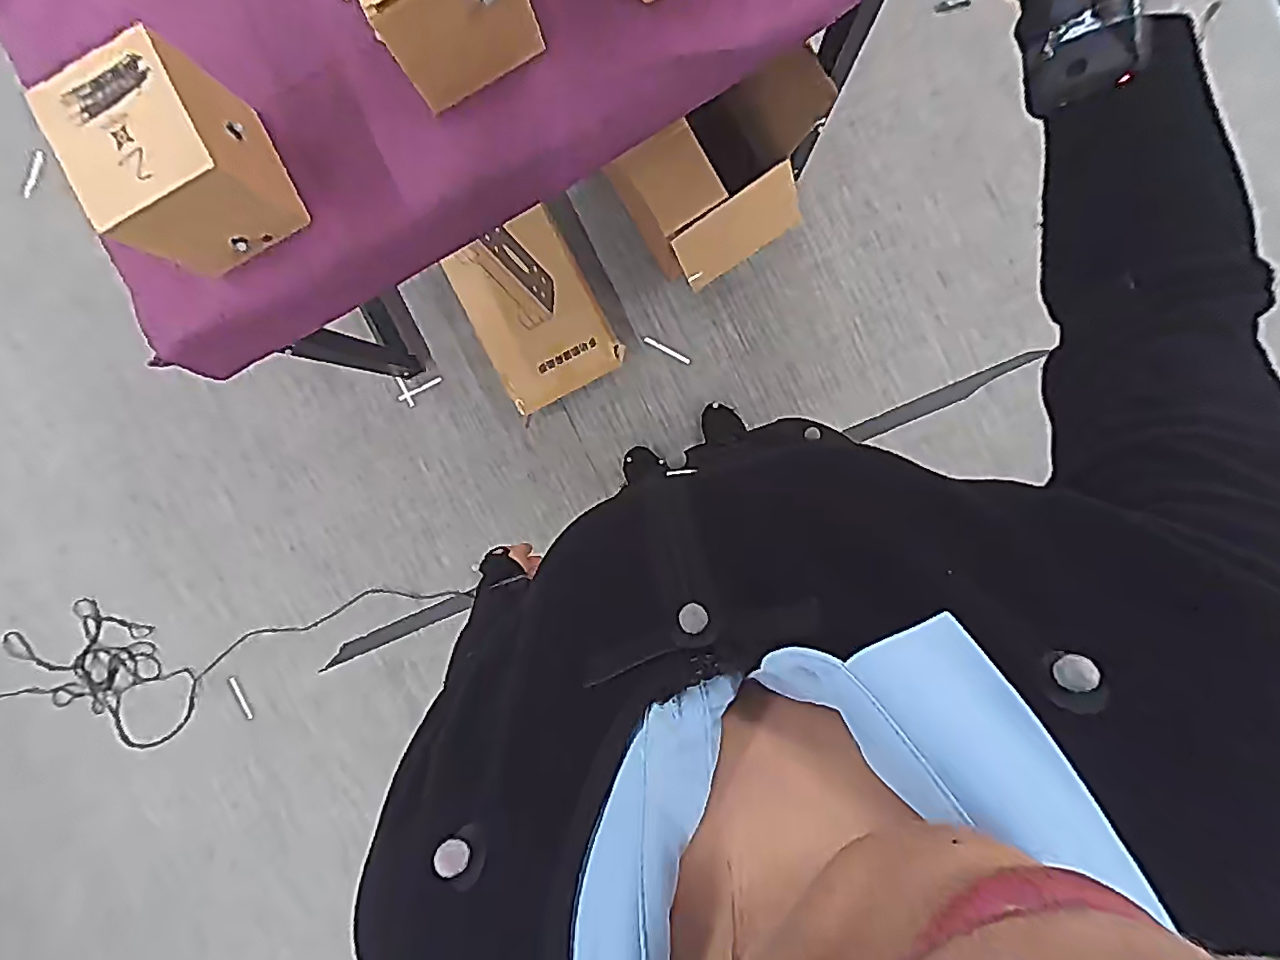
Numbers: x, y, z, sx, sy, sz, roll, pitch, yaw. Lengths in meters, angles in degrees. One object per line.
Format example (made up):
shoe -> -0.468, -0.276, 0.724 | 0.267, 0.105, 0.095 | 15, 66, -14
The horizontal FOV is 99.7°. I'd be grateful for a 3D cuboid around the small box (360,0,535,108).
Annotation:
small box -> -0.242, -0.604, 0.645 | 0.179, 0.176, 0.168 | -27, 90, 5
